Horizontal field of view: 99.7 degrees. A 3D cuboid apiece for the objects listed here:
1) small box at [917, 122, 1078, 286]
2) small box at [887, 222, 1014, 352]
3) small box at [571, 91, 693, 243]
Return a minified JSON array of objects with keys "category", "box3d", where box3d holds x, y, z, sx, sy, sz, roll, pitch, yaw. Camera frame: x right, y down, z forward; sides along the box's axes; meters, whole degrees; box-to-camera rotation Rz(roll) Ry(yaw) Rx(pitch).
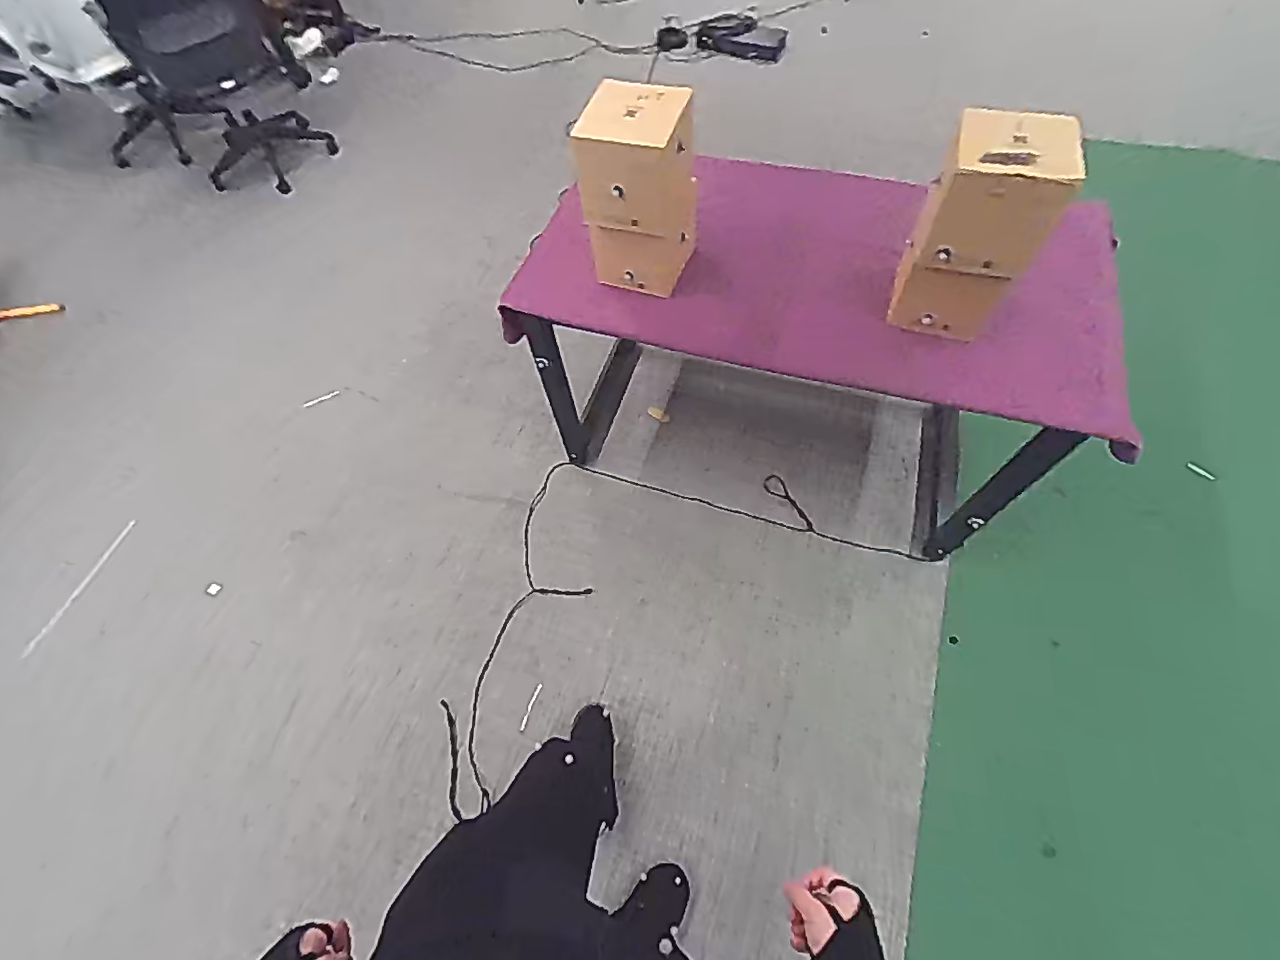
[{"category":"small box","box3d":[0.567,-0.442,0.875,0.168,0.176,0.179,15,61,14]},{"category":"small box","box3d":[0.587,-0.376,1.025,0.168,0.176,0.179,17,63,14]},{"category":"small box","box3d":[-0.005,-0.563,0.983,0.168,0.176,0.179,15,64,12]}]
